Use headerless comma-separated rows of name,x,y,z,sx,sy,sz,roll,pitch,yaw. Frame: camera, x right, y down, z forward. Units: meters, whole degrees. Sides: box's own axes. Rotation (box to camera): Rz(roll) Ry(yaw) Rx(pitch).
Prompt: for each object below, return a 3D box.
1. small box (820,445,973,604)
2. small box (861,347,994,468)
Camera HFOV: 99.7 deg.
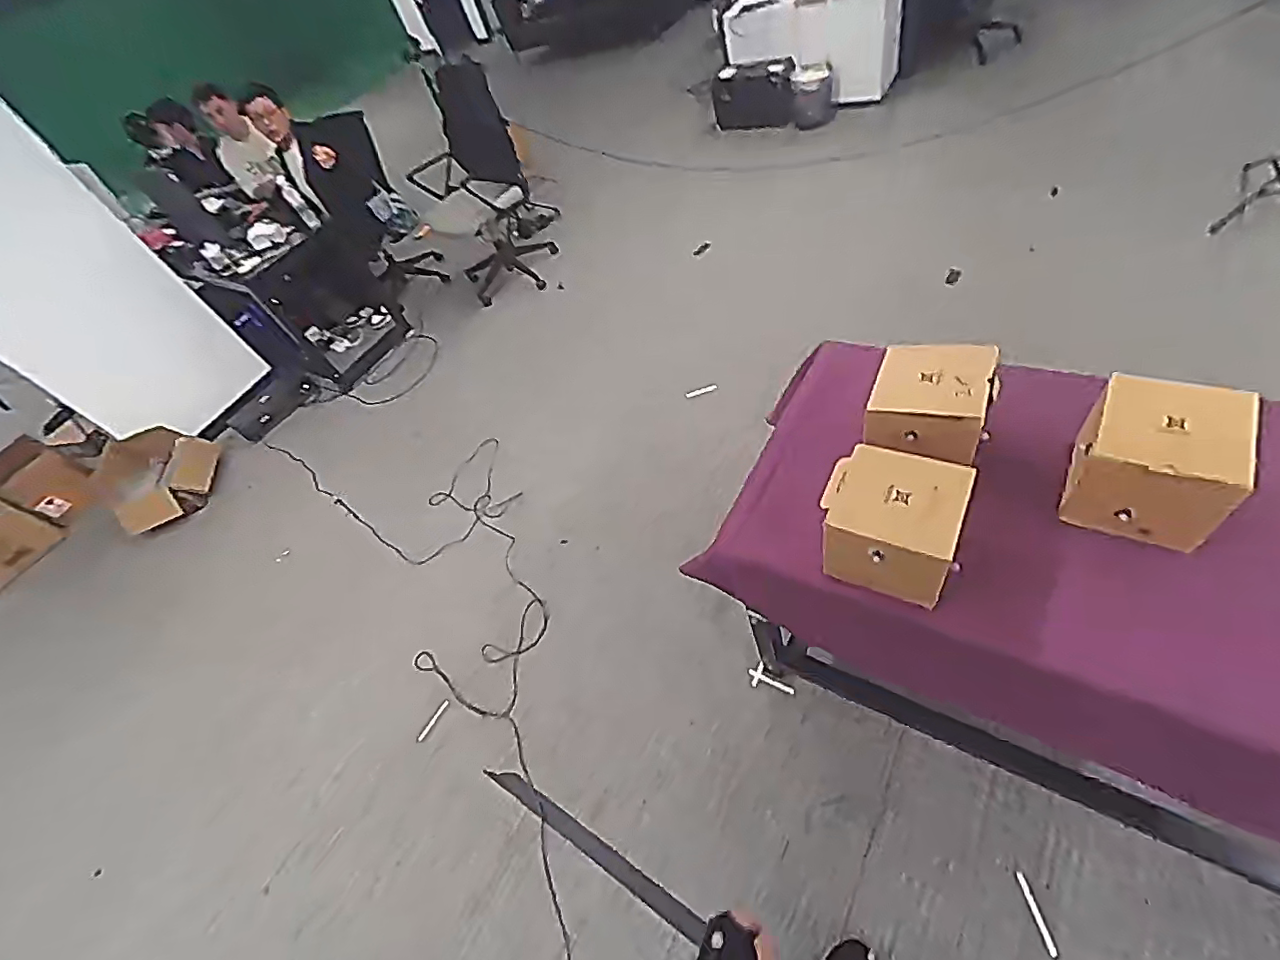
small box,0.401,0.073,0.863,0.179,0.176,0.168,17,61,29
small box,0.507,-0.115,0.973,0.179,0.176,0.168,15,60,28
